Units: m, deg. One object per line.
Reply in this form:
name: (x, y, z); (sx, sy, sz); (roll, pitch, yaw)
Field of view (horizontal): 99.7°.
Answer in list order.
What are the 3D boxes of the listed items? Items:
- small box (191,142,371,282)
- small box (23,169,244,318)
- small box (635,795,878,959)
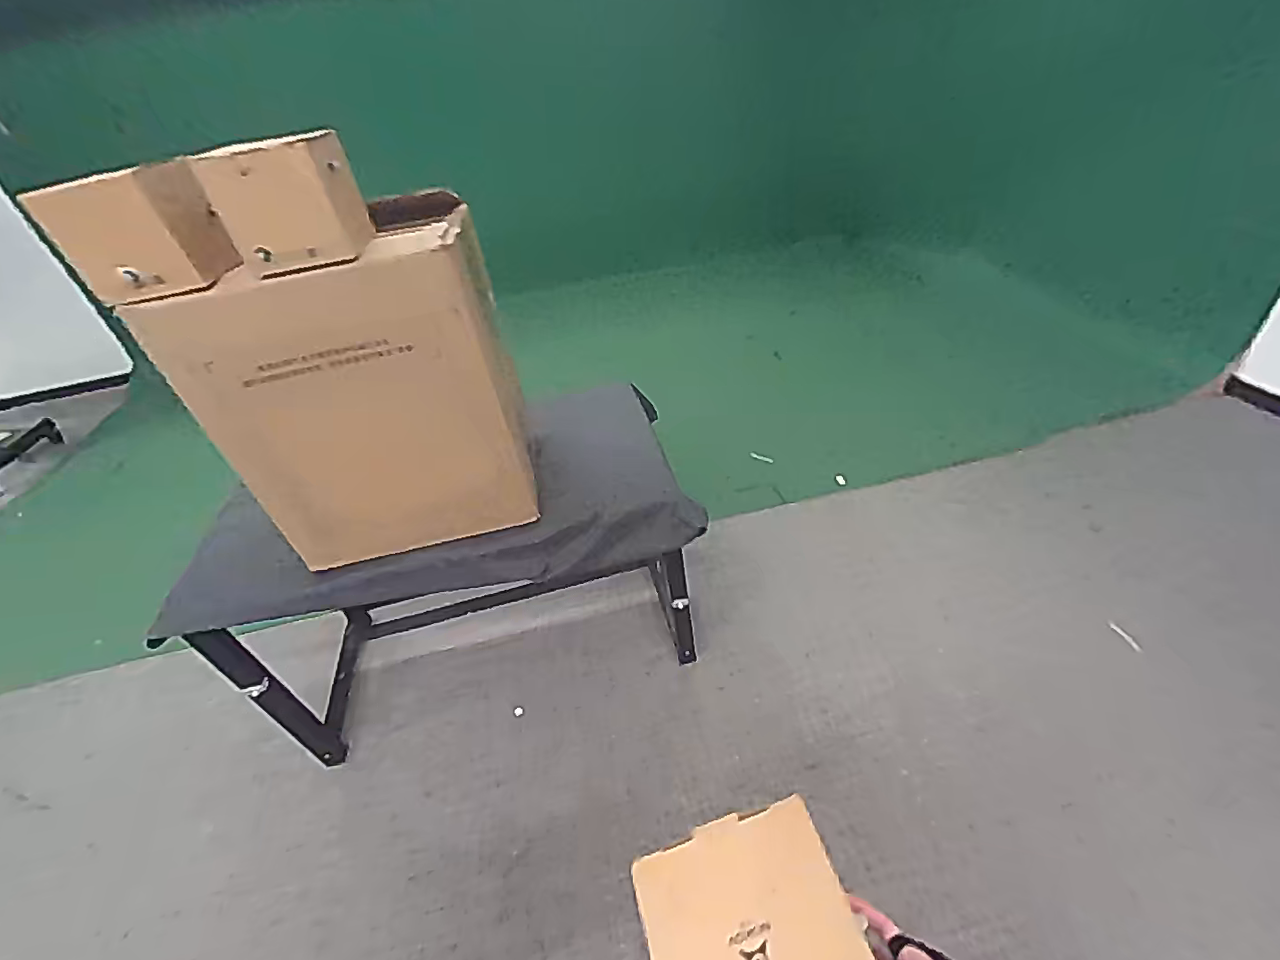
small box: (-0.571, -0.439, 0.893); (0.168, 0.176, 0.179); (-13, 37, -5)
small box: (-0.795, -0.384, 0.879); (0.168, 0.176, 0.179); (-14, 39, -1)
small box: (0.112, 0.422, 0.476); (0.168, 0.176, 0.179); (-23, 43, -2)
